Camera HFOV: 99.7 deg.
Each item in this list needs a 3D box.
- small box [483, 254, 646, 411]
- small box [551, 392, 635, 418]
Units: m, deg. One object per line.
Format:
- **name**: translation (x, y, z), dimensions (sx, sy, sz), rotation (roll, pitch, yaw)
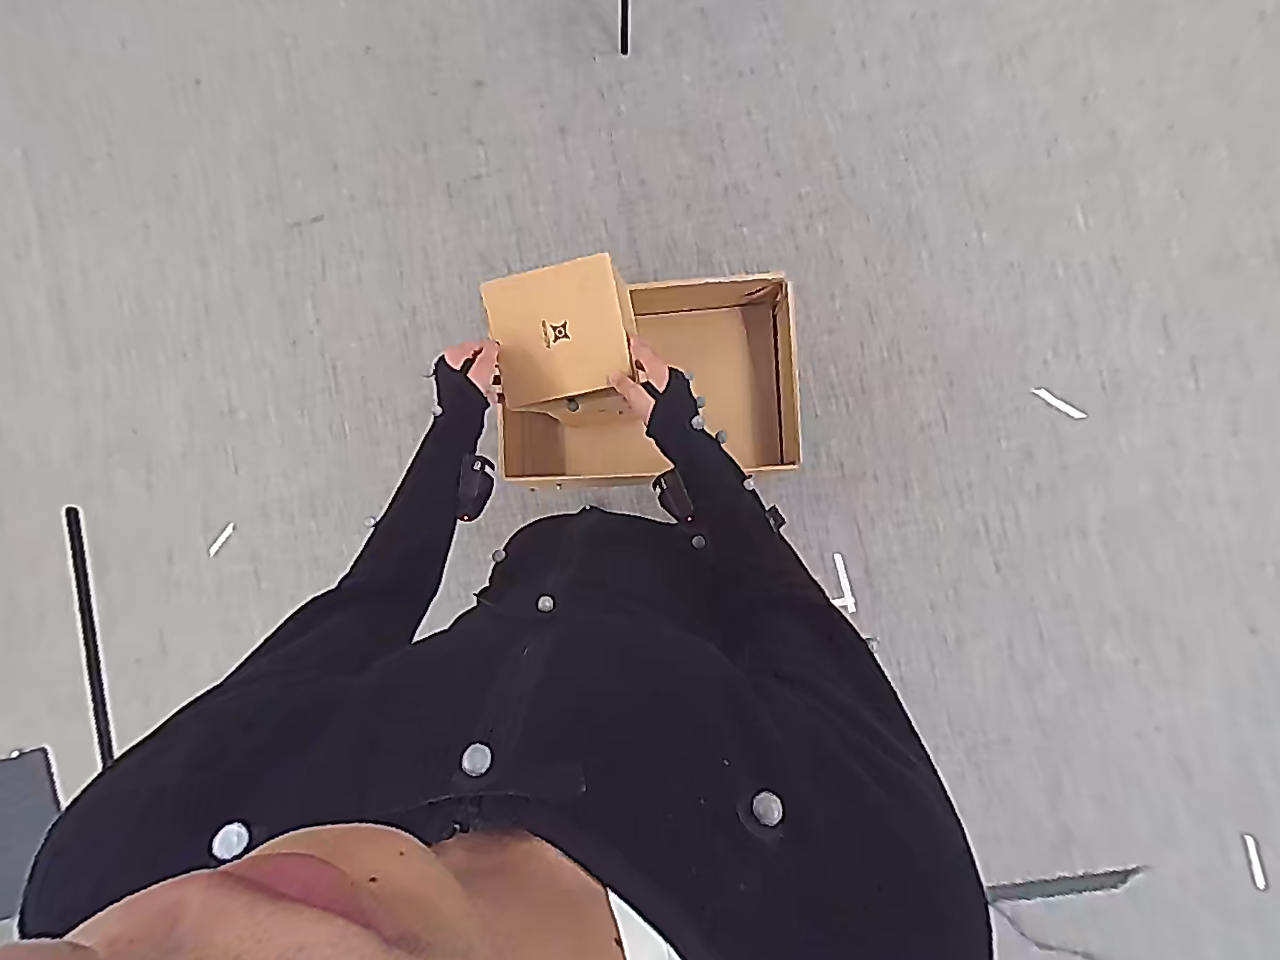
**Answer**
- **small box**: translation (-0.092, -0.196, 0.763), dimensions (0.179, 0.176, 0.168), rotation (-11, 95, 9)
- **small box**: translation (-0.101, -0.221, 0.997), dimensions (0.168, 0.176, 0.179), rotation (-6, 86, 4)
